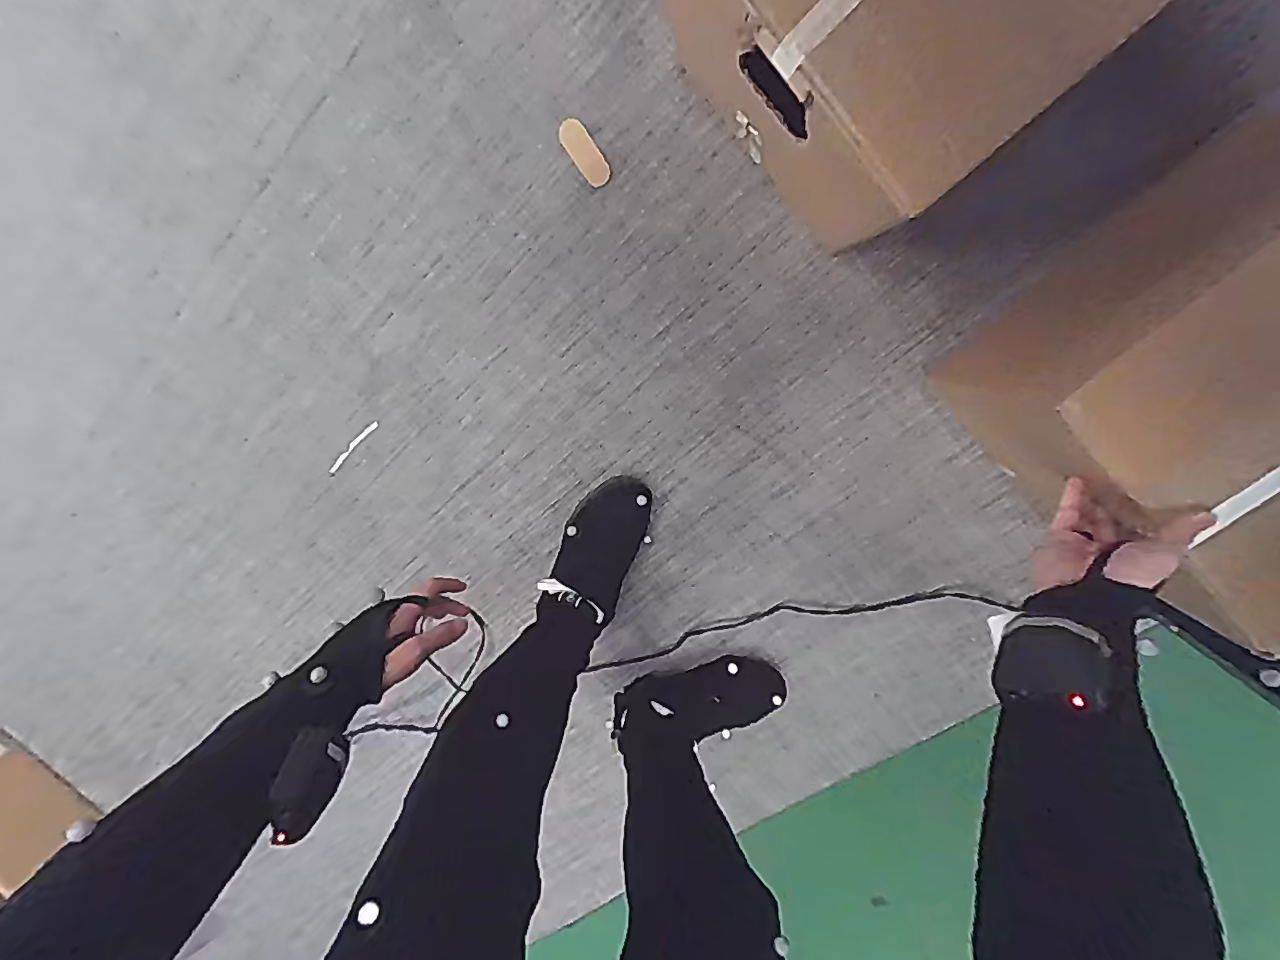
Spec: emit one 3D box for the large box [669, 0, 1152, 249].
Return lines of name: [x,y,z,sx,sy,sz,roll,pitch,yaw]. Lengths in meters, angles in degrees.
large box: [0.269,-0.483,0.480,0.408,0.320,0.320,-40,98,17]
